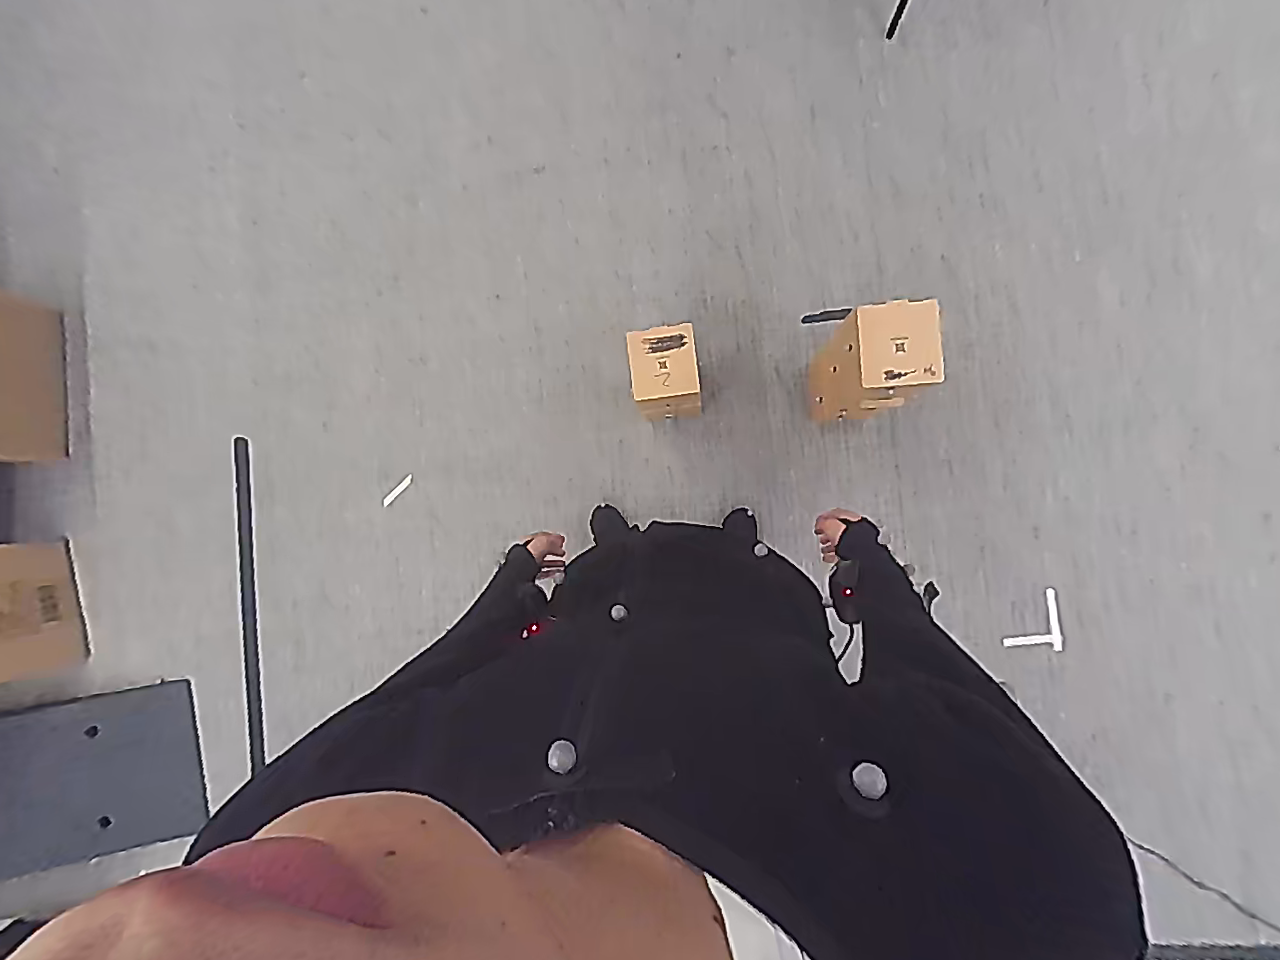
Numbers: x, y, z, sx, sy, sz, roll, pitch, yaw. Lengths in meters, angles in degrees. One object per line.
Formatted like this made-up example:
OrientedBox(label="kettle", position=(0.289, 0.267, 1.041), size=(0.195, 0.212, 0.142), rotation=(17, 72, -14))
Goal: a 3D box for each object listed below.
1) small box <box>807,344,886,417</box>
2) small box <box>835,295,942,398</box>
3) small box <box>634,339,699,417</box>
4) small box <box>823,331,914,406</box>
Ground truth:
OrientedBox(label="small box", position=(0.571, -0.278, 1.514), size=(0.168, 0.176, 0.179), rotation=(-3, 89, 5))
OrientedBox(label="small box", position=(0.536, -0.286, 1.187), size=(0.168, 0.176, 0.179), rotation=(-3, 88, 5))
OrientedBox(label="small box", position=(0.079, -0.287, 1.558), size=(0.168, 0.176, 0.179), rotation=(-7, 88, 6))
OrientedBox(label="small box", position=(0.564, -0.282, 1.350), size=(0.168, 0.176, 0.179), rotation=(-3, 88, 4))
